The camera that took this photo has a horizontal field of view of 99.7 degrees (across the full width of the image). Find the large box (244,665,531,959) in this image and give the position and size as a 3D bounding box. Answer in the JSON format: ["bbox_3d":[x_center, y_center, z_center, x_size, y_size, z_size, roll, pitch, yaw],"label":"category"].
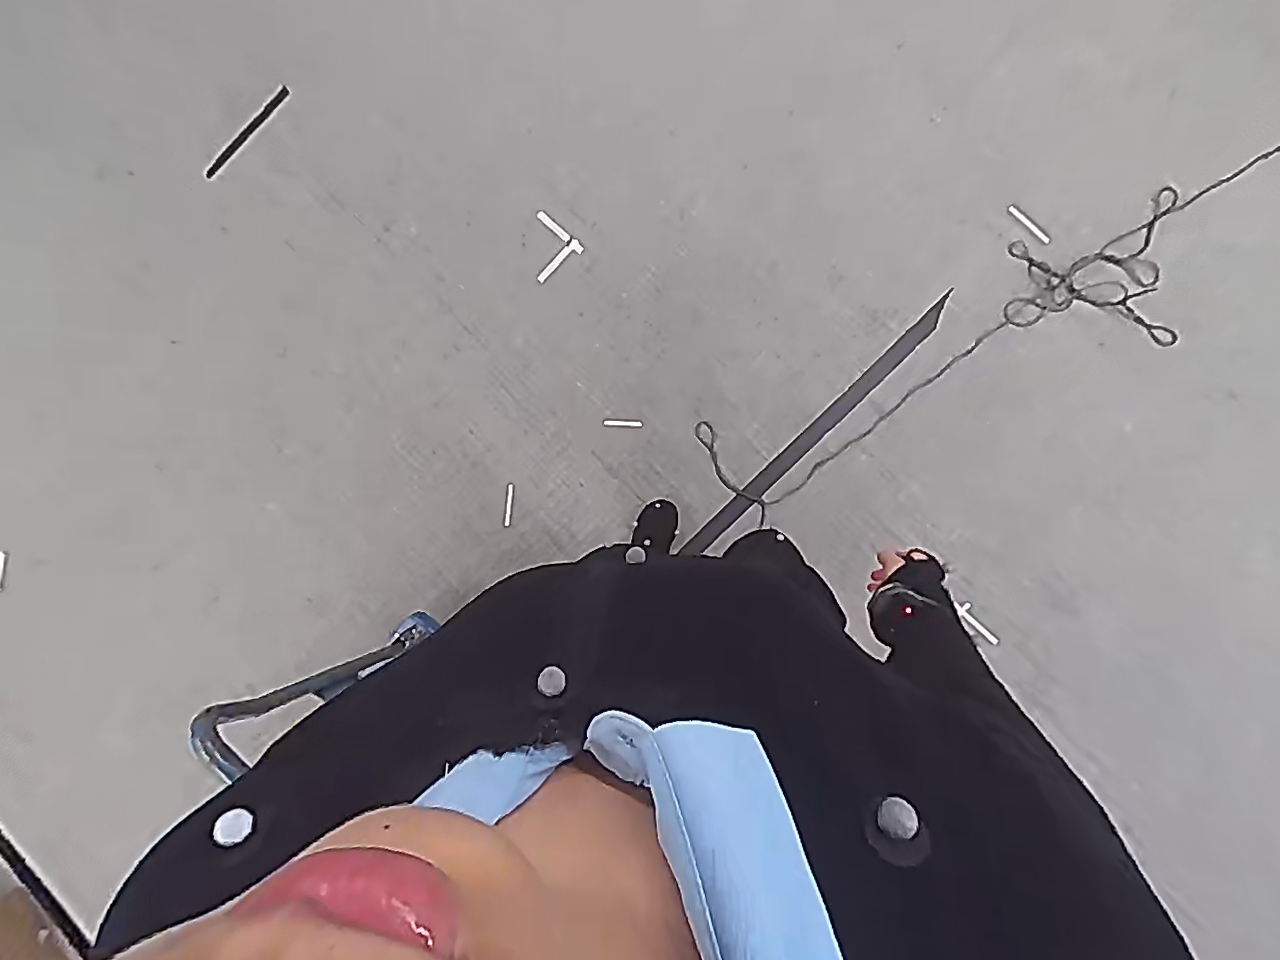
[{"bbox_3d":[-0.517,0.687,1.186,0.408,0.320,0.320,39,89,6],"label":"large box"}]
